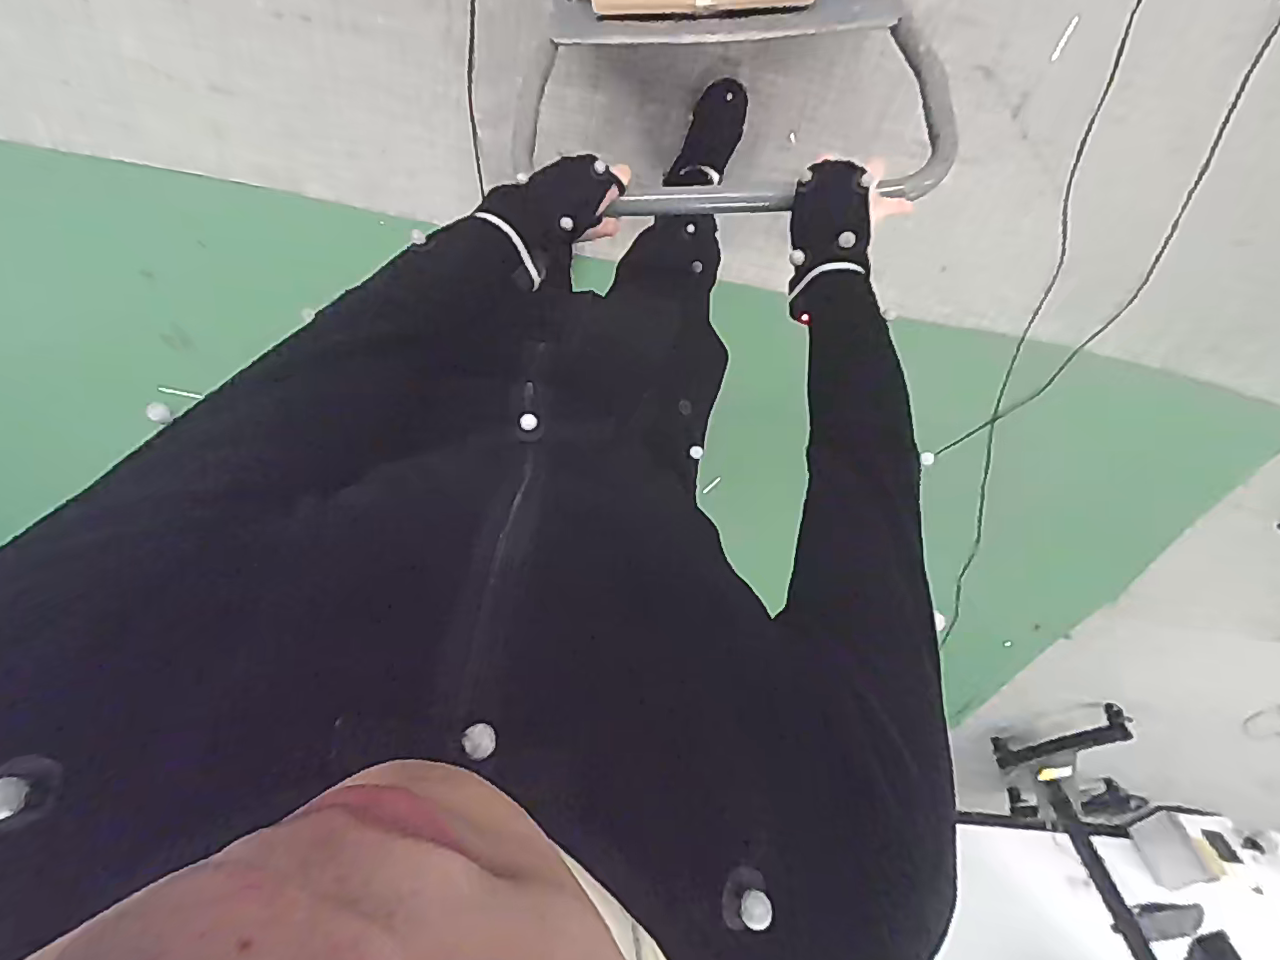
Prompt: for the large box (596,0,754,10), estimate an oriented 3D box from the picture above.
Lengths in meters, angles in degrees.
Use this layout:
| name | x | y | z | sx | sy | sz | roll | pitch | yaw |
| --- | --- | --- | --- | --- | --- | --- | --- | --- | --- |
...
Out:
| name | x | y | z | sx | sy | sz | roll | pitch | yaw |
| --- | --- | --- | --- | --- | --- | --- | --- | --- | --- |
| large box | 0.087 | -0.918 | 0.711 | 0.320 | 0.320 | 0.408 | 1 | 141 | 4 |
